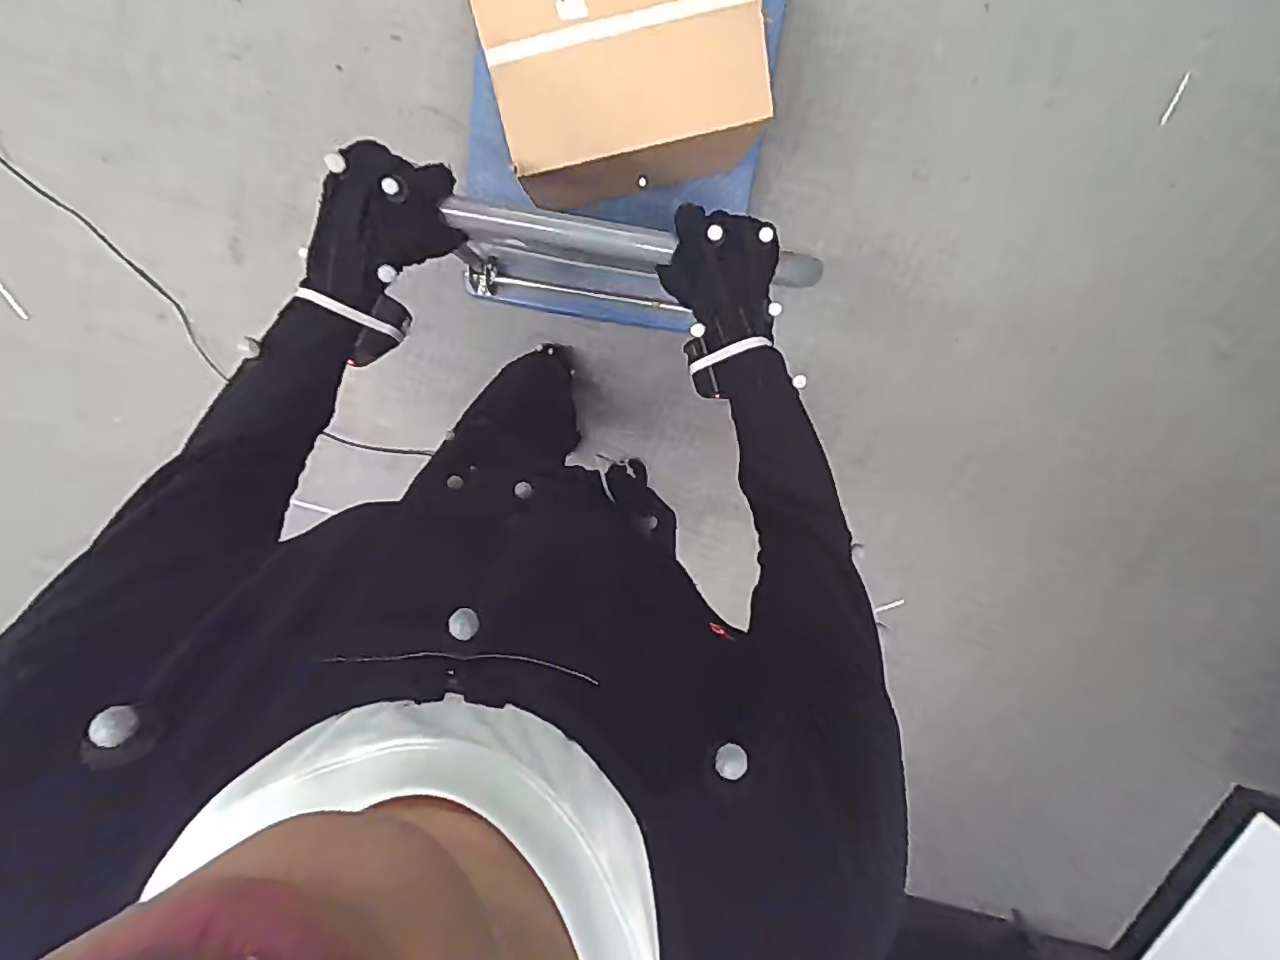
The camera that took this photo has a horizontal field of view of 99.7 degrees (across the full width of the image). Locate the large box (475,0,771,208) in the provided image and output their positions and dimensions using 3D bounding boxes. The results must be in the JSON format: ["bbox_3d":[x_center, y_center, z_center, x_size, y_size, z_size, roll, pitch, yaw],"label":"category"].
[{"bbox_3d":[-0.028,-0.703,0.932,0.408,0.320,0.320,-12,106,2],"label":"large box"}]
